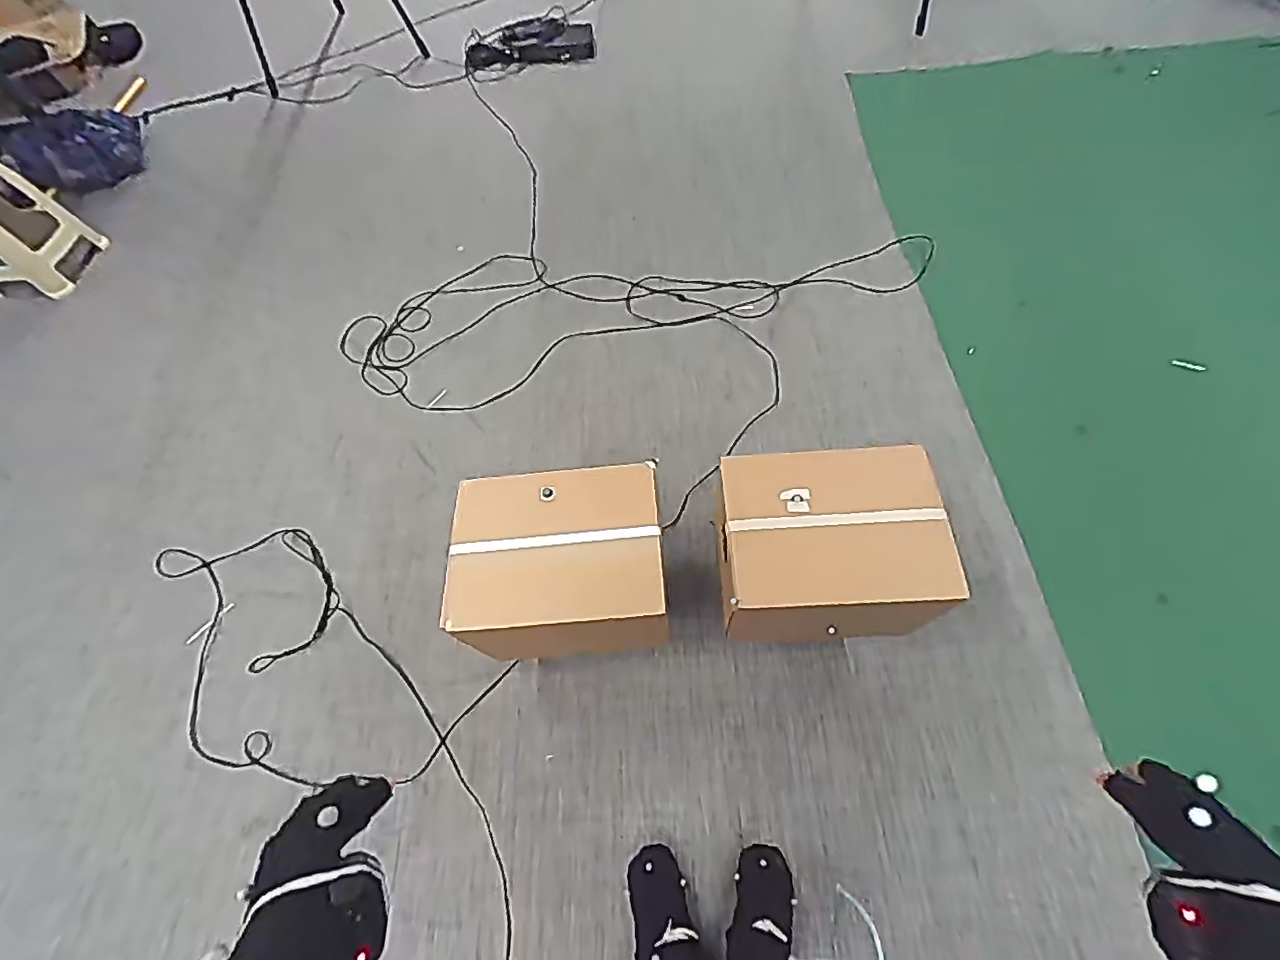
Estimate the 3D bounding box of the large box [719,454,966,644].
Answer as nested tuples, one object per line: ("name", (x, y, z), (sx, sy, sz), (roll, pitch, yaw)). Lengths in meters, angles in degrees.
("large box", (0.387, 0.163, 1.159), (0.408, 0.320, 0.320), (-4, 62, 4))
